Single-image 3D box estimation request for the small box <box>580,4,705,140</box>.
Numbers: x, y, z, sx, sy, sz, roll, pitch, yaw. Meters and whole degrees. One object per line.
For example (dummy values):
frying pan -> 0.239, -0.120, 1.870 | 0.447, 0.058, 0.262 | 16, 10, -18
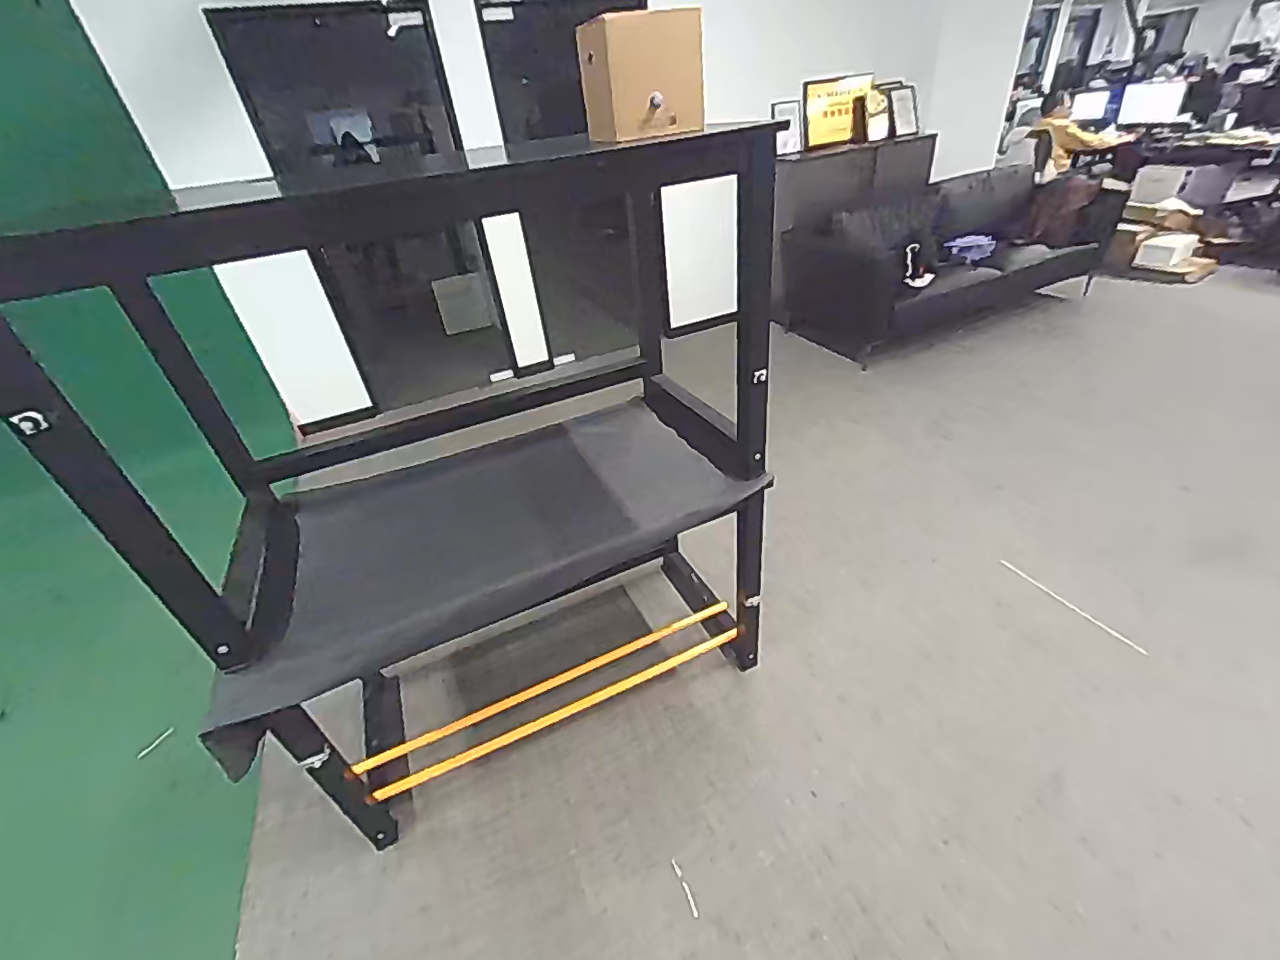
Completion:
small box -> 0.003, -0.699, 0.940 | 0.168, 0.176, 0.179 | -16, 37, -12
